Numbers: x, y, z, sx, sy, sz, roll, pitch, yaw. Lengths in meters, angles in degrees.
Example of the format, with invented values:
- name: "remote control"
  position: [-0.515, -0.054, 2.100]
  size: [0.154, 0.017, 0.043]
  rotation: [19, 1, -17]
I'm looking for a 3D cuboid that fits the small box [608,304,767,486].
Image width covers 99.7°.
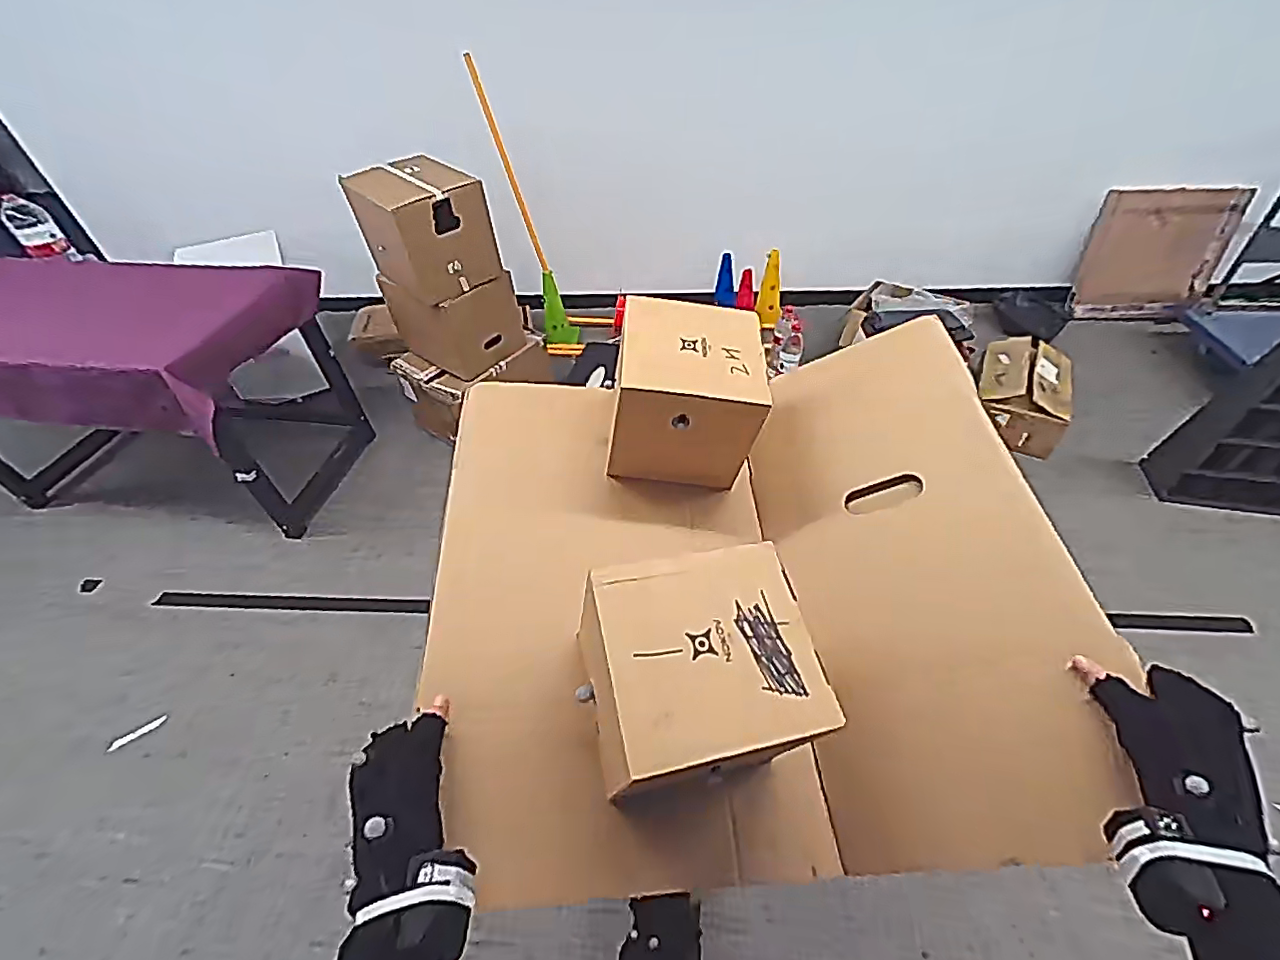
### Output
- name: "small box"
  position: [0.053, -0.107, 0.723]
  size: [0.179, 0.176, 0.168]
  rotation: [7, 54, -6]

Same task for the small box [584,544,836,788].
- name: "small box"
  position: [0.048, 0.181, 0.520]
  size: [0.179, 0.176, 0.168]
  rotation: [-7, 57, -14]
